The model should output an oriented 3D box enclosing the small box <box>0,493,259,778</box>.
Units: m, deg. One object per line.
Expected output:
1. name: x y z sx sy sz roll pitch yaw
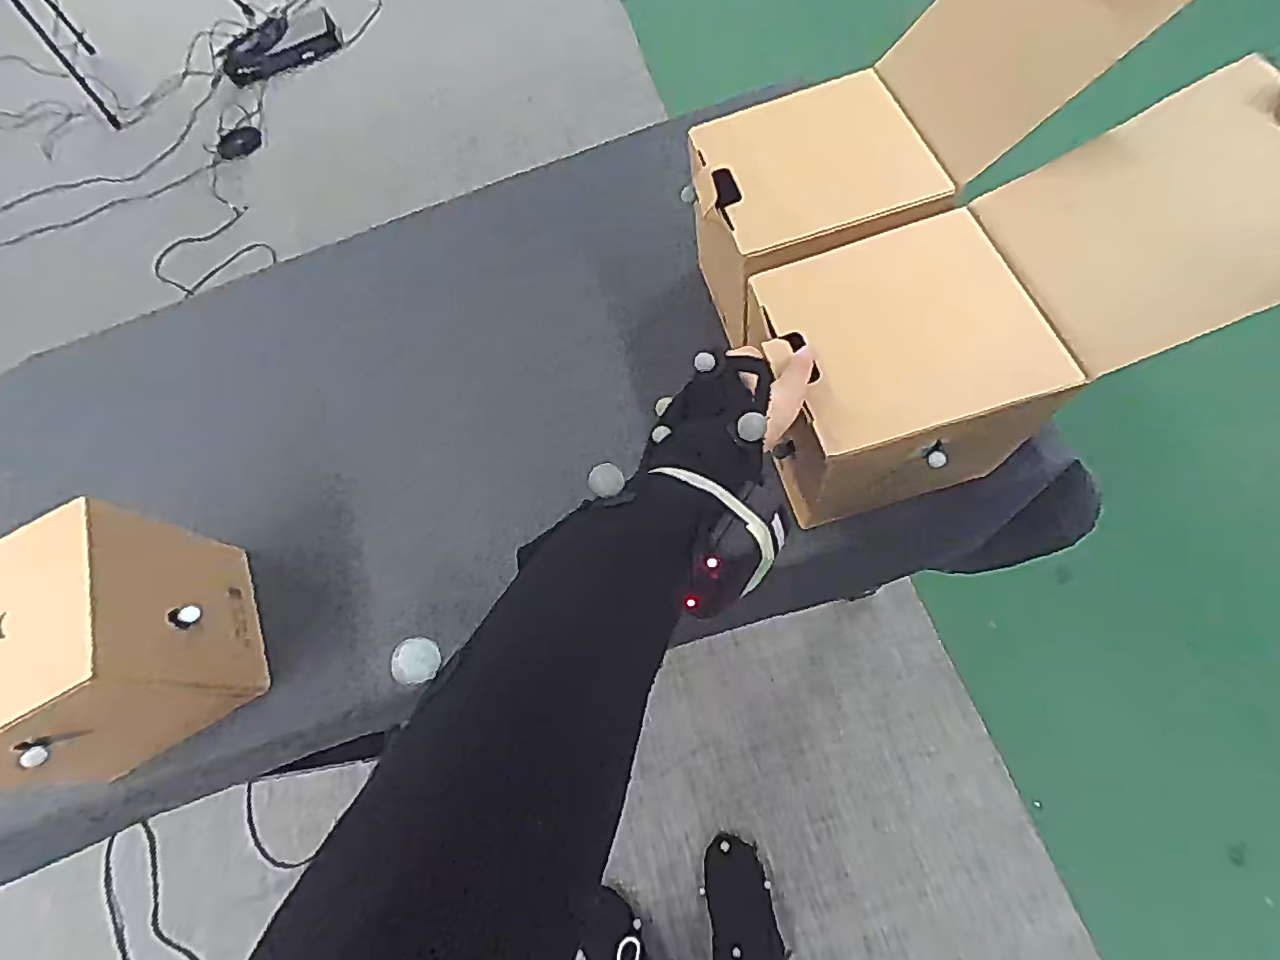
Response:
1. small box: -0.484 0.143 0.487 0.179 0.176 0.168 -30 65 -2
